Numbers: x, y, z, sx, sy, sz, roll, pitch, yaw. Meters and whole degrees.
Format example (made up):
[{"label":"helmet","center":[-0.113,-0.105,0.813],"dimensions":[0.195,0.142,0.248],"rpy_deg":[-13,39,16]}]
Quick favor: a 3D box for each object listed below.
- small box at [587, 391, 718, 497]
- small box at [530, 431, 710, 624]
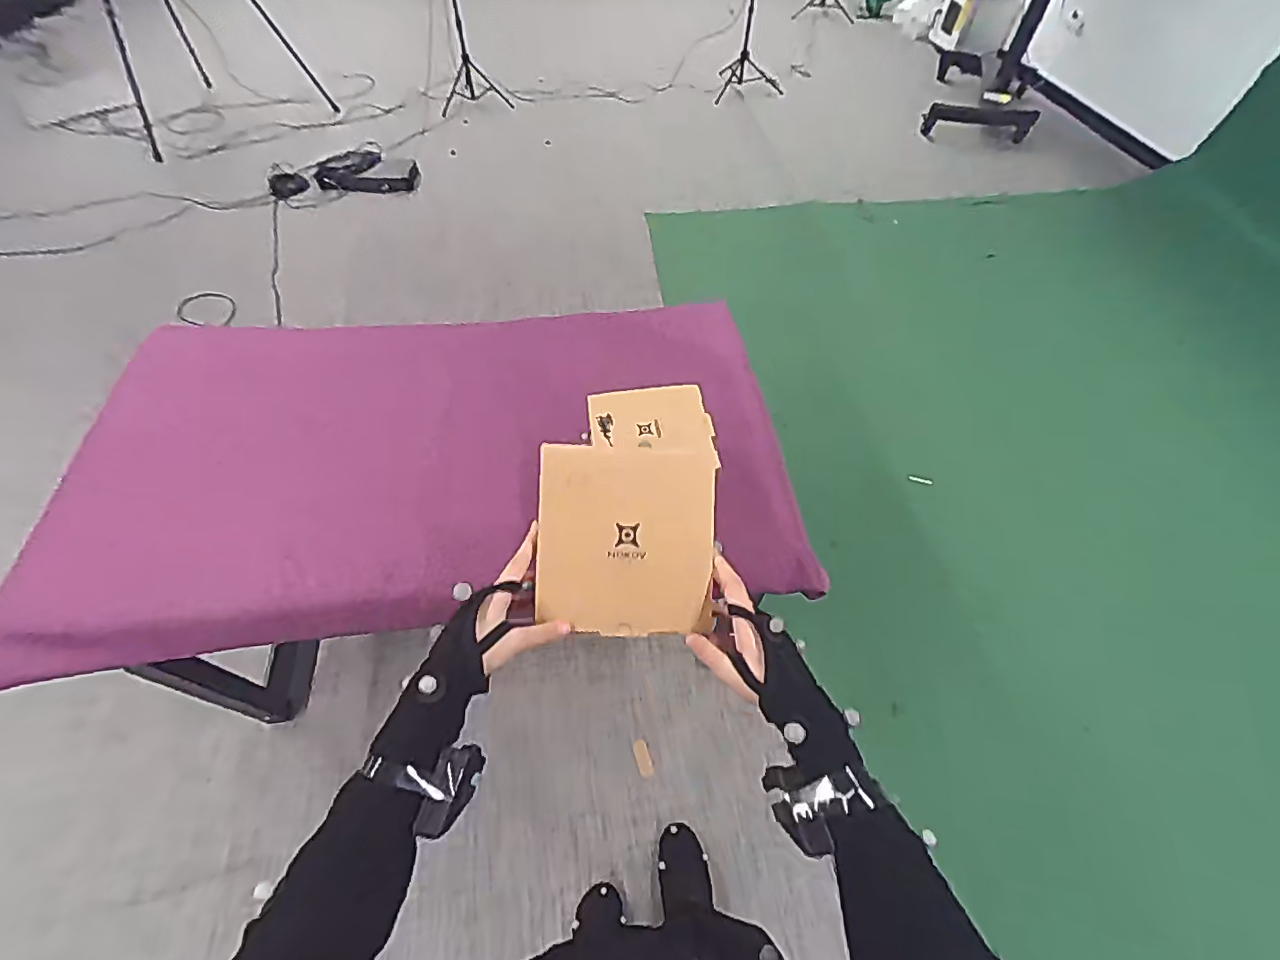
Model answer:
[{"label":"small box","center":[0.012,-0.018,0.846],"dimensions":[0.179,0.176,0.168],"rpy_deg":[-5,52,-5]},{"label":"small box","center":[-0.025,0.049,0.578],"dimensions":[0.168,0.176,0.179],"rpy_deg":[1,87,-5]}]
